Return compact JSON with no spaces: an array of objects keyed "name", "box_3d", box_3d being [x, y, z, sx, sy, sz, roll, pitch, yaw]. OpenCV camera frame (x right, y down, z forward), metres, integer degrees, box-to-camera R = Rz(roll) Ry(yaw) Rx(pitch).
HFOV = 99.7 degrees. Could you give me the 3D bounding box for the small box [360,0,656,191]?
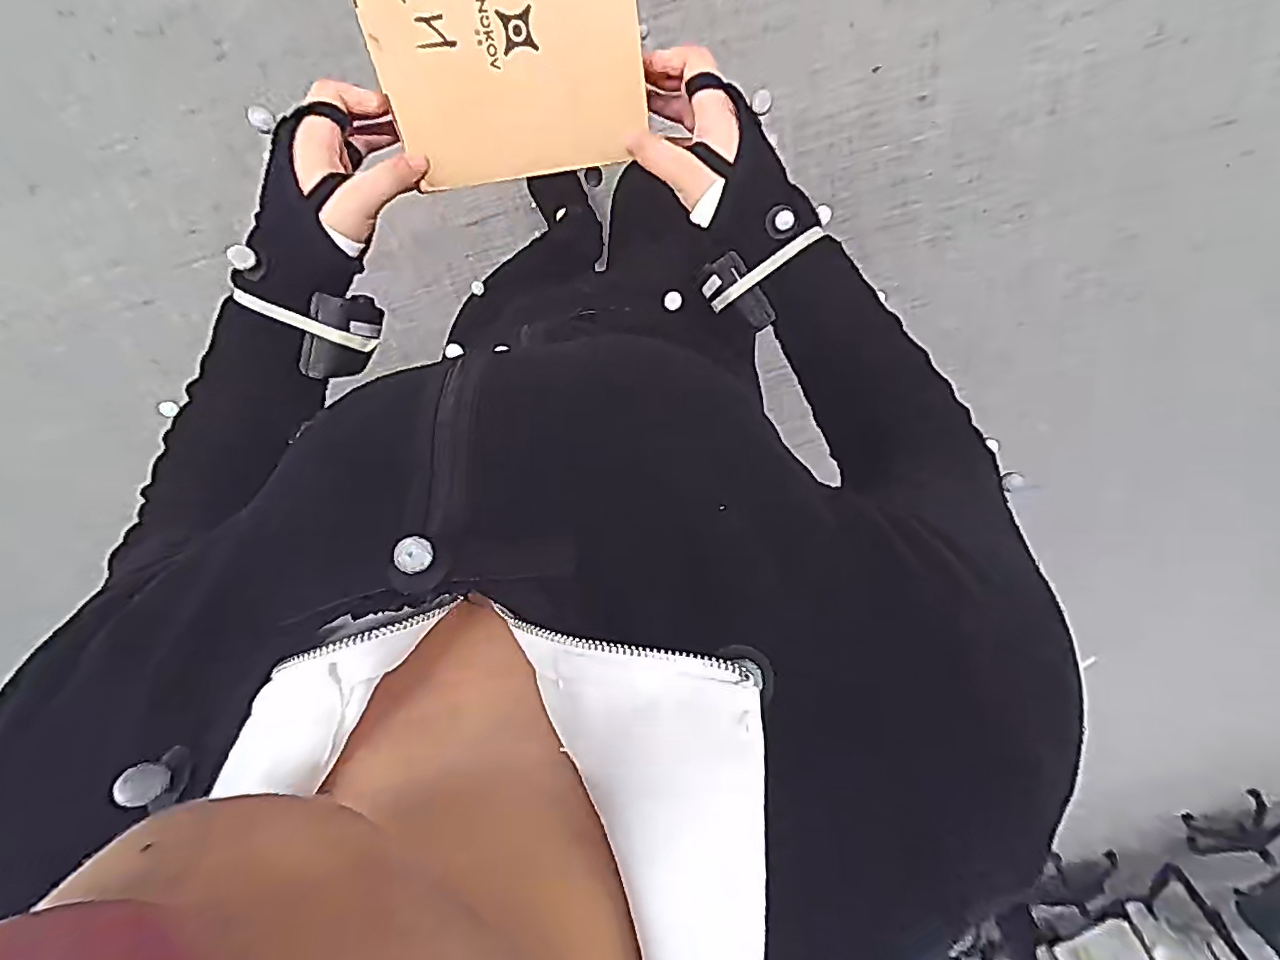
[{"name":"small box","box_3d":[-0.090,-0.333,0.407,0.179,0.176,0.168,-9,126,0]}]
